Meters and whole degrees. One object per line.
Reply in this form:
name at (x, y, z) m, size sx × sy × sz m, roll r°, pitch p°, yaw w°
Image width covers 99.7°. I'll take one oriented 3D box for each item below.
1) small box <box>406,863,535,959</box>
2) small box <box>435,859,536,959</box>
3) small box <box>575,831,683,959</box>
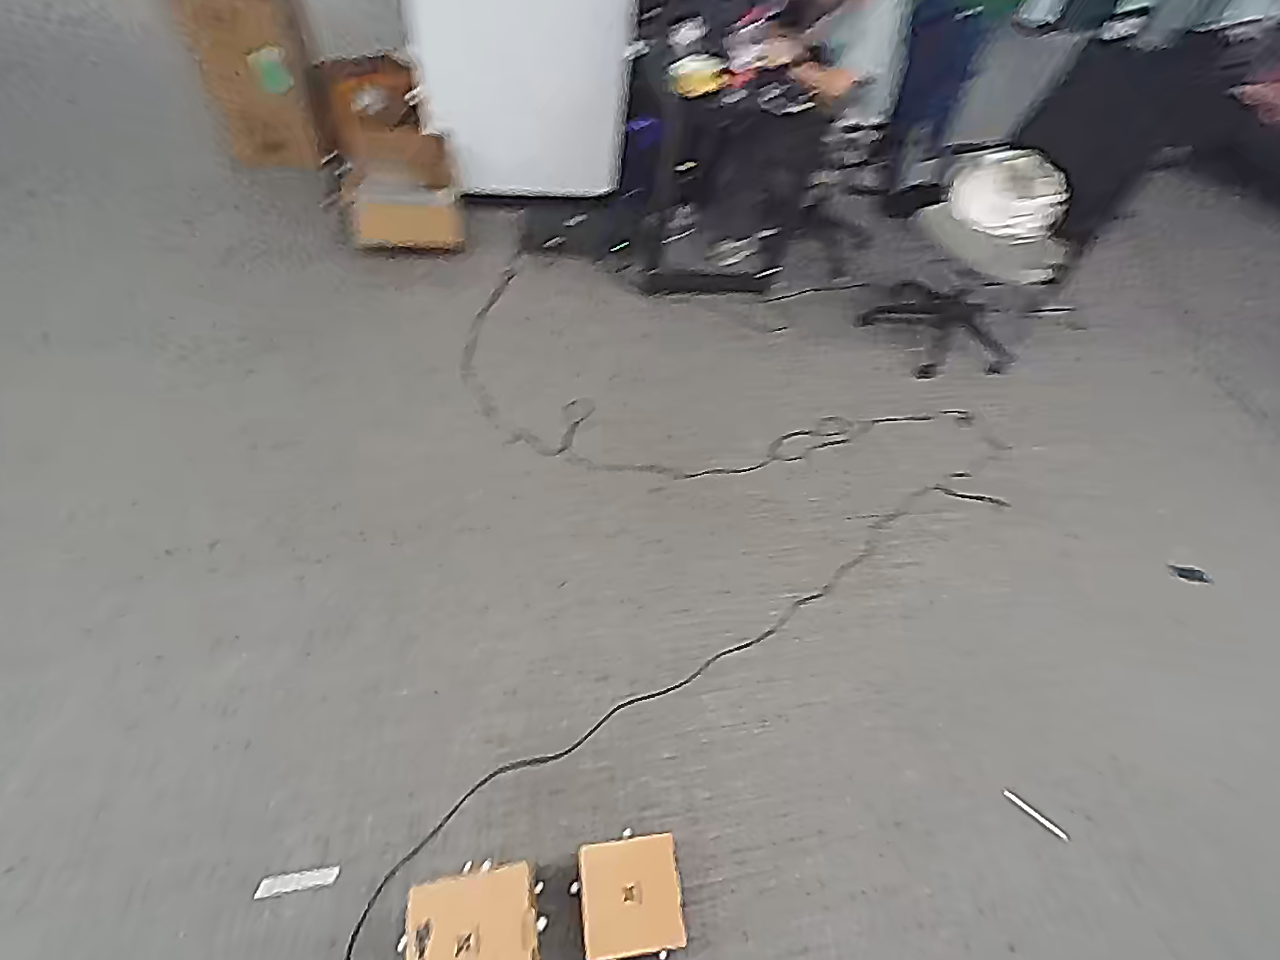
small box at (-0.253, 0.706, 0.833) m, size 0.179 × 0.176 × 0.168 m, roll -4°, pitch 54°, yaw -12°
small box at (-0.275, 0.801, 0.966) m, size 0.168 × 0.176 × 0.179 m, roll -4°, pitch 55°, yaw -12°
small box at (-0.032, 0.782, 1.025) m, size 0.179 × 0.176 × 0.168 m, roll -1°, pitch 53°, yaw -12°
